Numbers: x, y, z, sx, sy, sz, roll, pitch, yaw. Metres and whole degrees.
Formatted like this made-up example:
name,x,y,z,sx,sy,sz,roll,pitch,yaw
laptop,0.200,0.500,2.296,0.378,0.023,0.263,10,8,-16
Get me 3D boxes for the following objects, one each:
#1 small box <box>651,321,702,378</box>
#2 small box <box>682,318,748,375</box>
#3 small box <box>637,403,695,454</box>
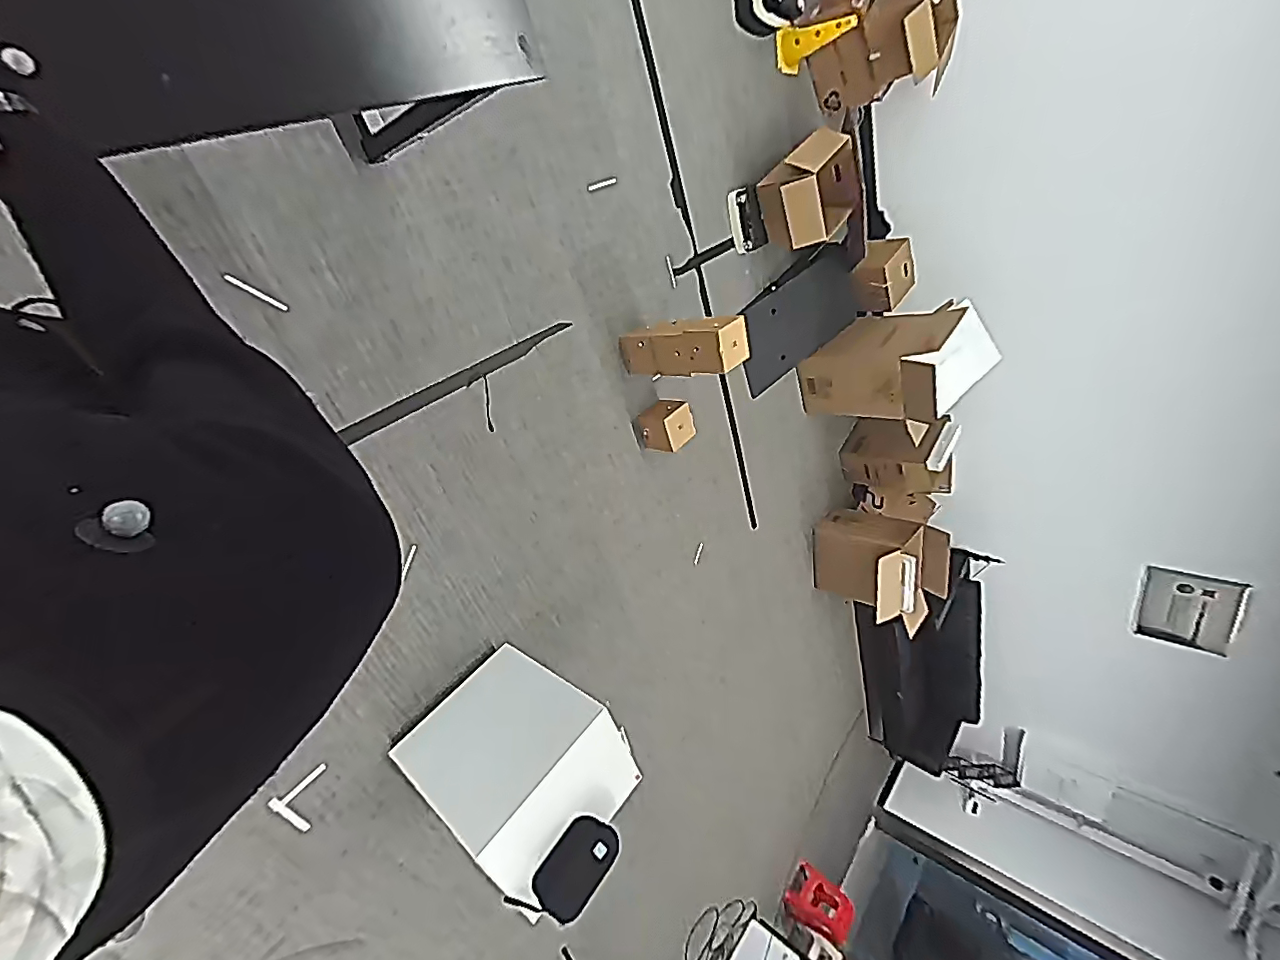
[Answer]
name,x,y,z,sx,sy,sz,roll,pitch,yaw
small box,0.166,-0.523,2.165,0.168,0.176,0.179,-40,127,-34
small box,0.285,-0.510,2.055,0.179,0.176,0.168,-38,125,-35
small box,0.115,-0.237,2.426,0.179,0.176,0.168,-41,125,-32
